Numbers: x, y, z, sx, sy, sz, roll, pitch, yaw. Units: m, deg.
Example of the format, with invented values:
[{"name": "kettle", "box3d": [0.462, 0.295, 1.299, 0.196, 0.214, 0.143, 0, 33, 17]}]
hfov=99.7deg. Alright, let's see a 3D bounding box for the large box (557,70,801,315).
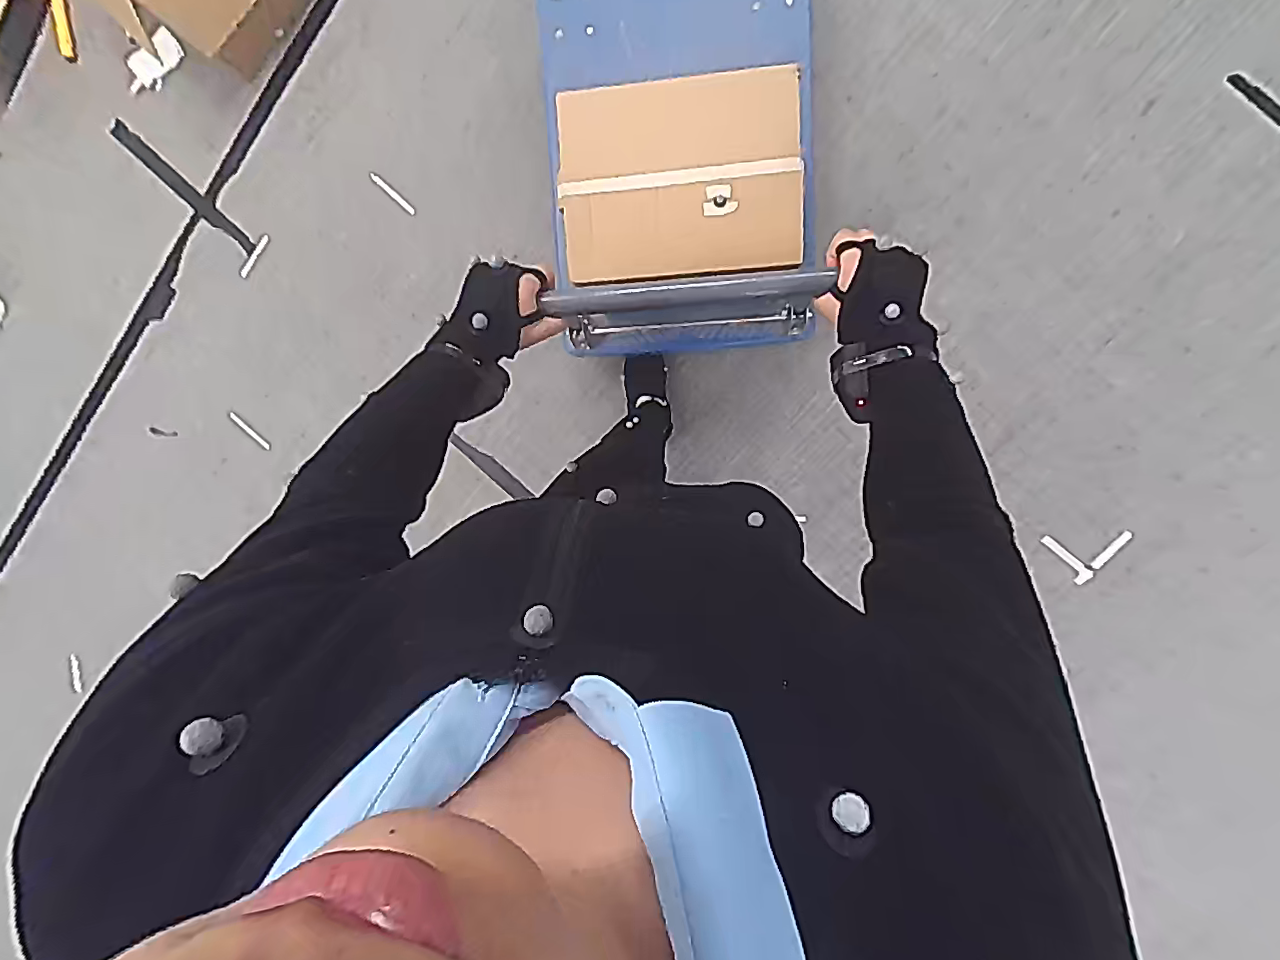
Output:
[{"name": "large box", "box3d": [0.077, -0.525, 1.065, 0.408, 0.320, 0.320, -3, 98, 5]}]
